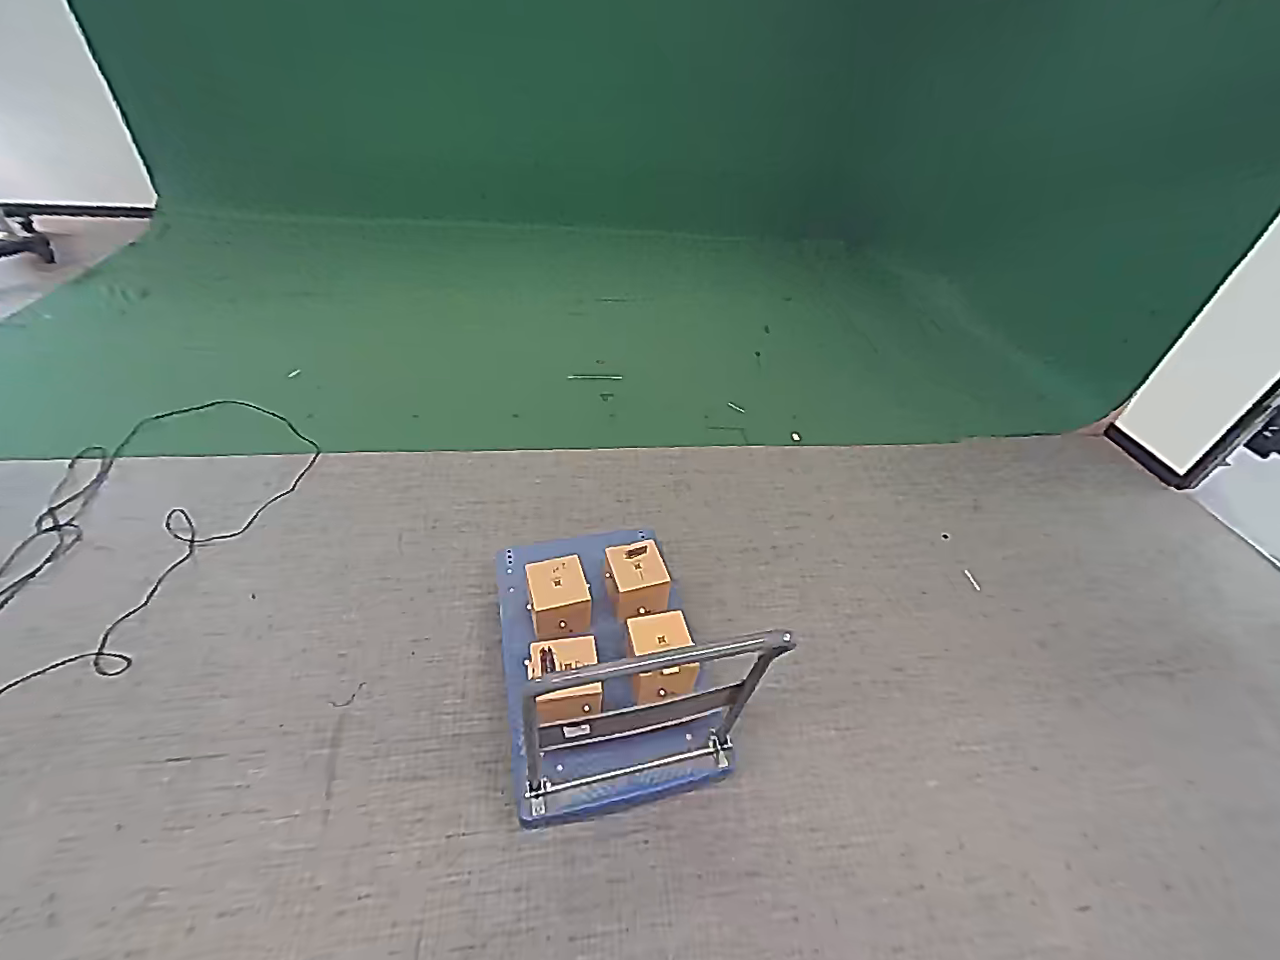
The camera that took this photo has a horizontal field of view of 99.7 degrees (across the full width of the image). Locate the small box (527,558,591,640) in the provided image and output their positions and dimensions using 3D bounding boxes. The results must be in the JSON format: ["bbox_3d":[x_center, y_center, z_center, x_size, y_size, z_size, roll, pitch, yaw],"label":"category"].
[{"bbox_3d":[-0.251,0.374,1.675,0.168,0.176,0.179,-9,44,-17],"label":"small box"}]

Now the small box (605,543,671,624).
[{"bbox_3d":[-0.013,0.333,1.747,0.168,0.176,0.179,-10,45,-16],"label":"small box"}]

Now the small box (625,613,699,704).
[{"bbox_3d":[0.056,0.514,1.558,0.168,0.176,0.179,-6,44,-13],"label":"small box"}]
